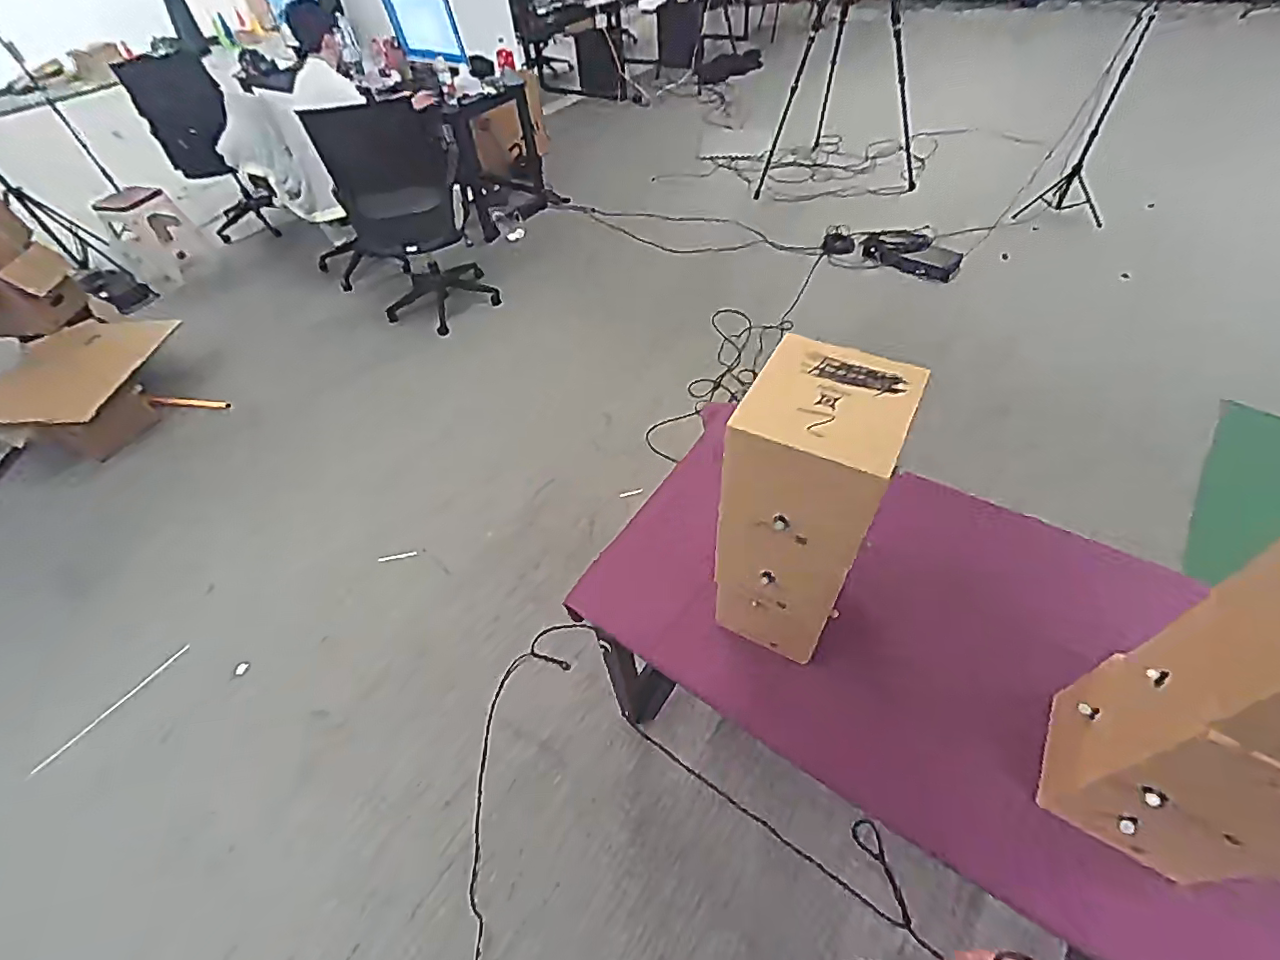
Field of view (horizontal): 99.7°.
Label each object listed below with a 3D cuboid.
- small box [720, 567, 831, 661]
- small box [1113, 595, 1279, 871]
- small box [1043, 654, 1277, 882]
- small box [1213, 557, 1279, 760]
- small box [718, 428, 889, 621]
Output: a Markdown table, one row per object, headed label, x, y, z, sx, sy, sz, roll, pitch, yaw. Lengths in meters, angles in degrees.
| label | x | y | z | sx | sy | sz | roll | pitch | yaw |
| --- | --- | --- | --- | --- | --- | --- | --- | --- | --- |
| small box | 0.237 | 0.159 | 0.884 | 0.168 | 0.176 | 0.179 | 21 | 55 | 22 |
| small box | 0.628 | 0.259 | 0.549 | 0.168 | 0.176 | 0.179 | 27 | 55 | 25 |
| small box | 0.642 | 0.362 | 0.677 | 0.168 | 0.176 | 0.179 | 24 | 54 | 24 |
| small box | 0.619 | 0.147 | 0.431 | 0.168 | 0.176 | 0.179 | 27 | 56 | 26 |
| small box | 0.218 | 0.064 | 0.749 | 0.168 | 0.176 | 0.179 | 23 | 56 | 22 |
